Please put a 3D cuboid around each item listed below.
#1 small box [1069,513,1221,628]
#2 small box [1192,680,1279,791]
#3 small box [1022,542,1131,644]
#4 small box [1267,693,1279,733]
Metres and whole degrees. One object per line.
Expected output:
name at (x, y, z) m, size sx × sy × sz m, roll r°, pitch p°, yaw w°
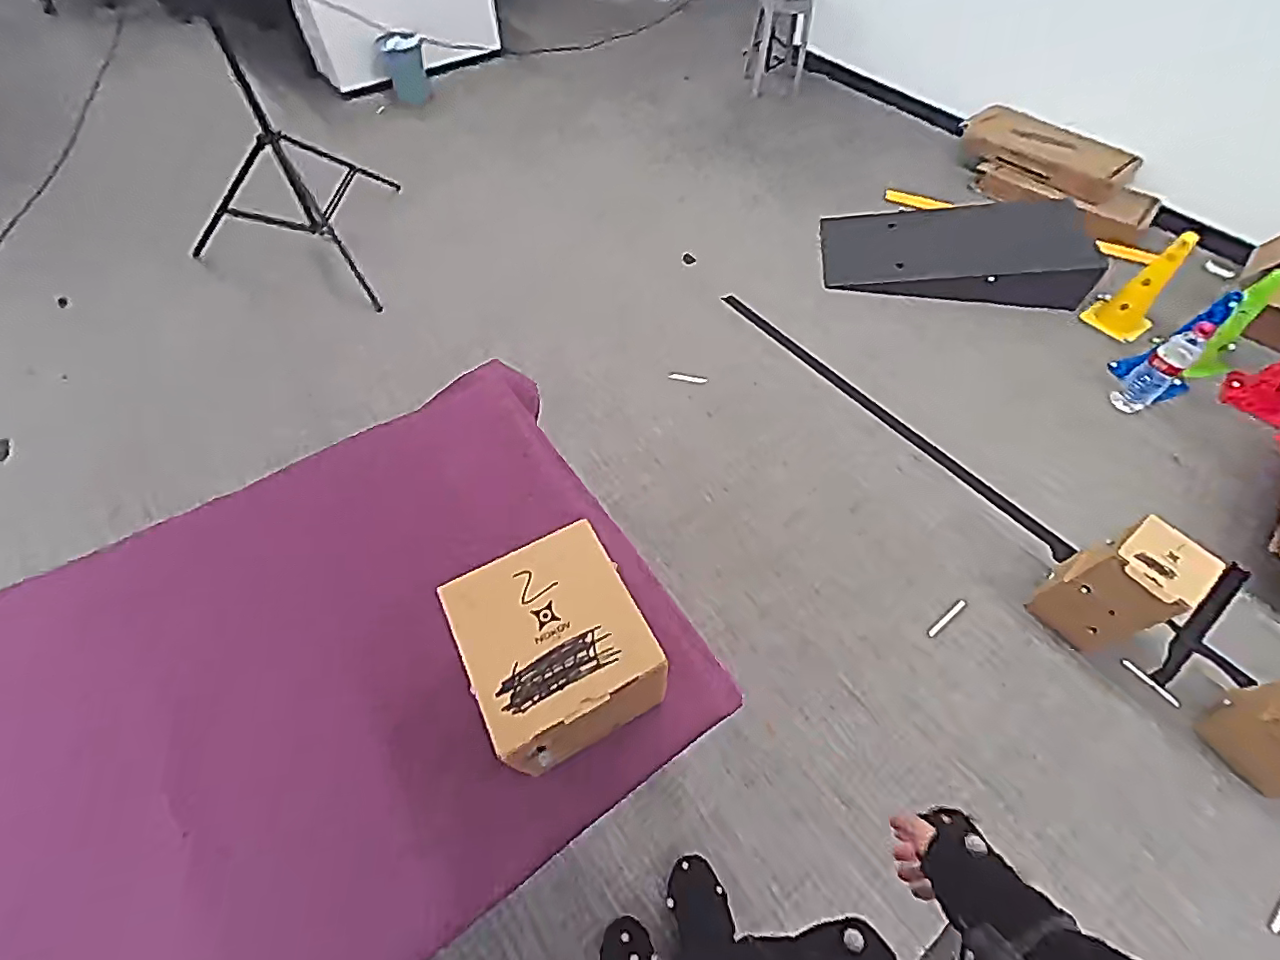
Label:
small box at (1.157, 0.215, 1.256) m, size 0.179 × 0.176 × 0.168 m, roll -32°, pitch 63°, yaw -21°
small box at (1.440, 0.577, 1.221) m, size 0.168 × 0.176 × 0.179 m, roll -28°, pitch 63°, yaw -18°
small box at (1.151, 0.301, 1.396) m, size 0.168 × 0.176 × 0.179 m, roll -35°, pitch 63°, yaw -22°
small box at (1.454, 0.483, 1.089) m, size 0.179 × 0.176 × 0.168 m, roll -33°, pitch 64°, yaw -20°
